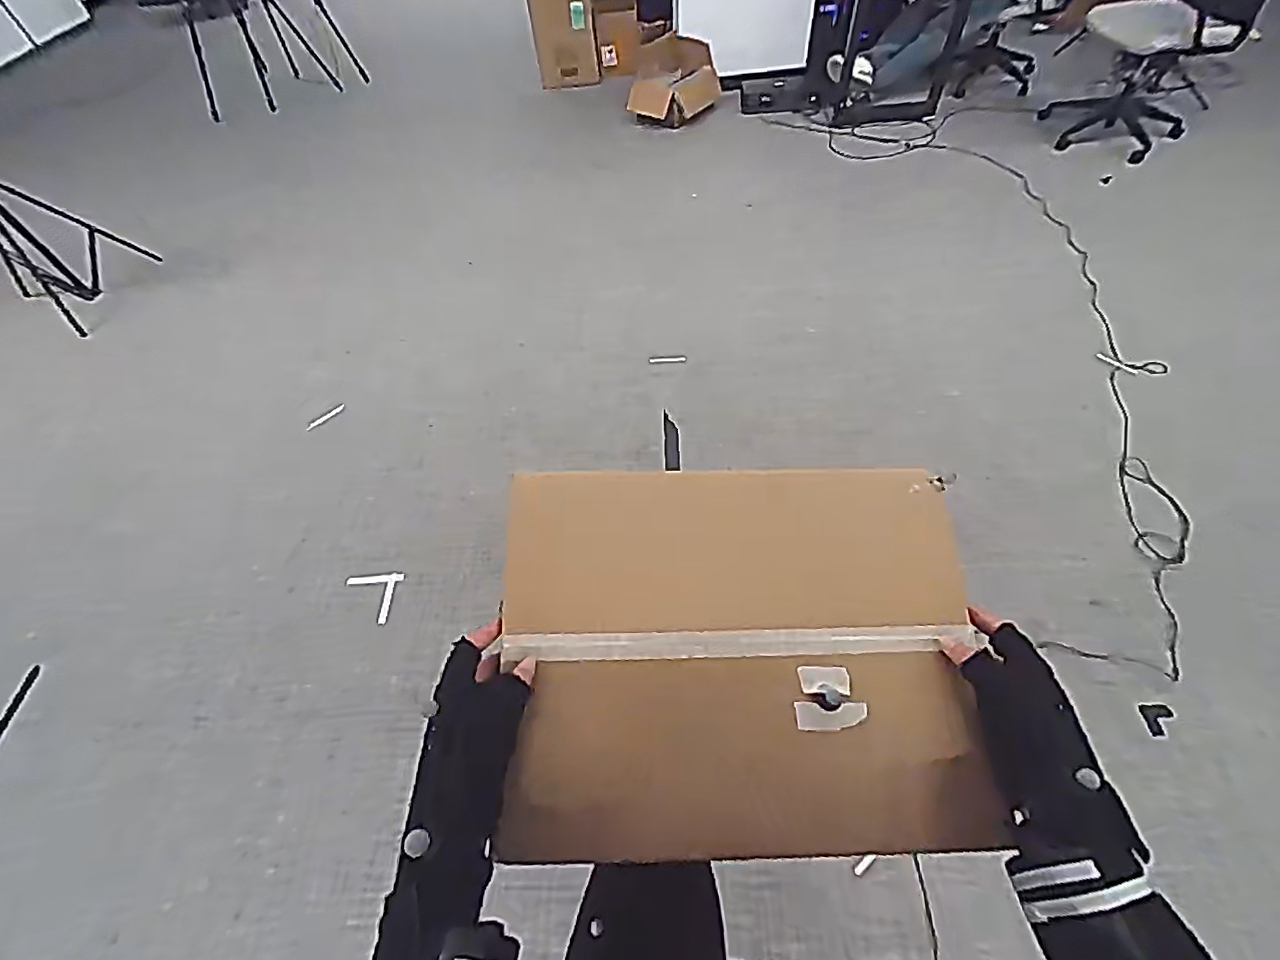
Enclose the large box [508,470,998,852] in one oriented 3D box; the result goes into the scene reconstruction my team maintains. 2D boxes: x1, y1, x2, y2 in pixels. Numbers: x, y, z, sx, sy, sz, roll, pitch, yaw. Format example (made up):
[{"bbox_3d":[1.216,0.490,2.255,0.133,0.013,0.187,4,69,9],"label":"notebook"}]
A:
[{"bbox_3d":[0.081,0.191,0.618,0.408,0.320,0.320,-1,70,-2],"label":"large box"}]
